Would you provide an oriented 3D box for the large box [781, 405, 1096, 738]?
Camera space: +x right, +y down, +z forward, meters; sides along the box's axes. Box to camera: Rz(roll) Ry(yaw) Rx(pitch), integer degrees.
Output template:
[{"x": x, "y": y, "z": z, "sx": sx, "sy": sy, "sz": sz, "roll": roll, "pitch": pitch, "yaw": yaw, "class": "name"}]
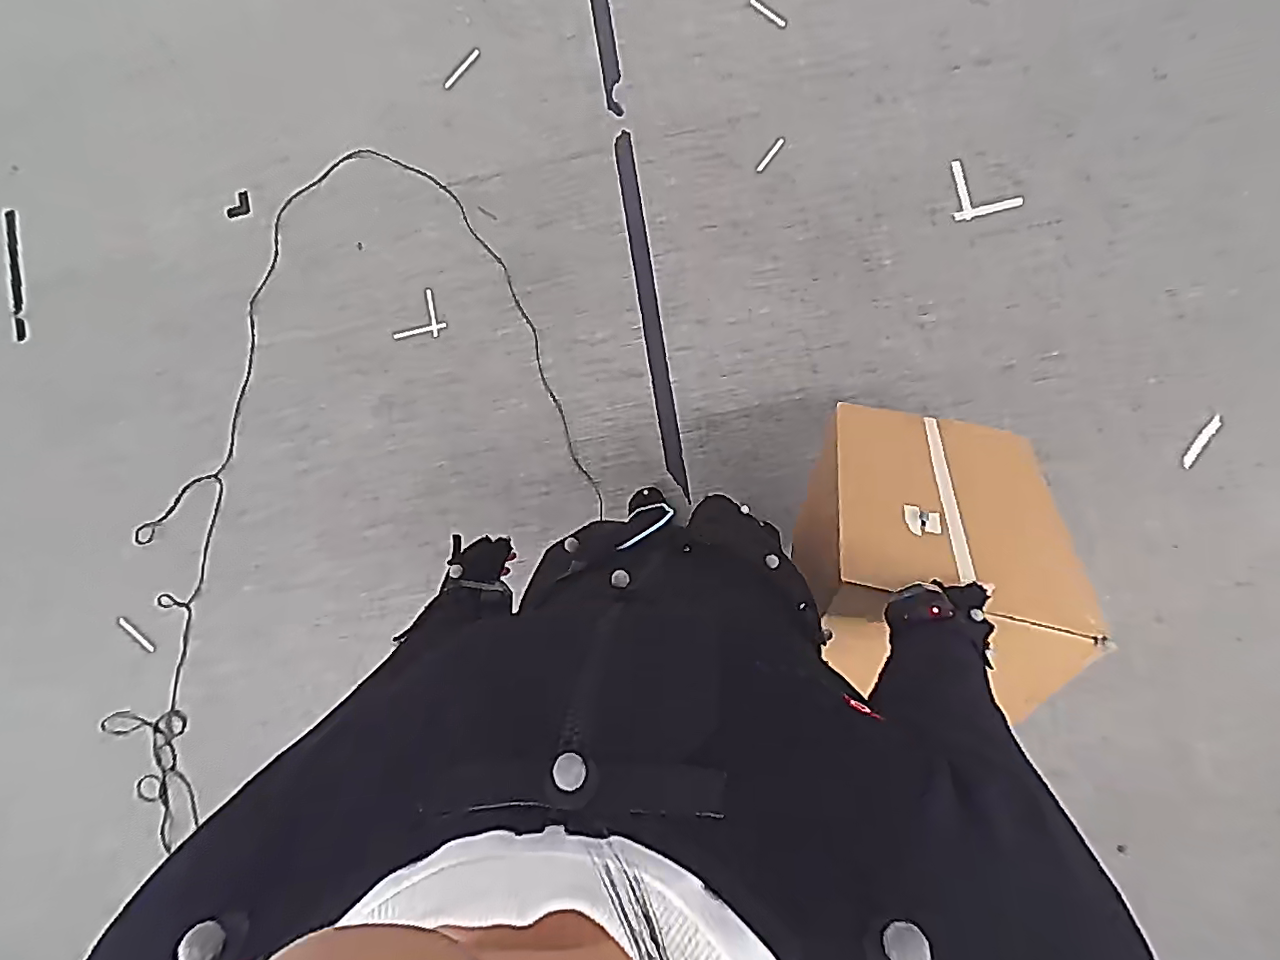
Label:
[{"x": 0.429, "y": 0.136, "z": 0.897, "sx": 0.320, "sy": 0.320, "sz": 0.408, "roll": 11, "pitch": 45, "yaw": 9, "class": "large box"}]
